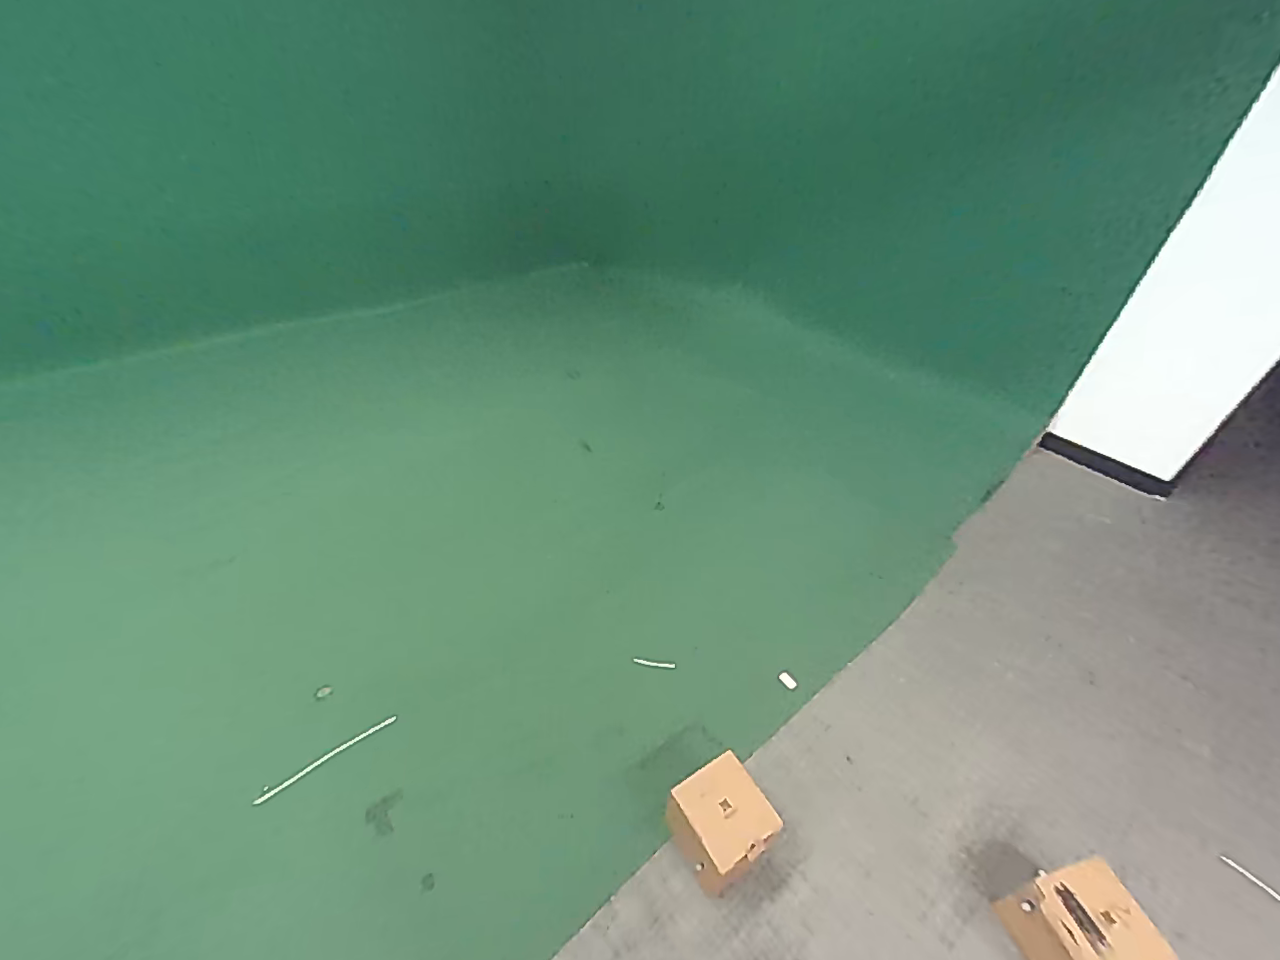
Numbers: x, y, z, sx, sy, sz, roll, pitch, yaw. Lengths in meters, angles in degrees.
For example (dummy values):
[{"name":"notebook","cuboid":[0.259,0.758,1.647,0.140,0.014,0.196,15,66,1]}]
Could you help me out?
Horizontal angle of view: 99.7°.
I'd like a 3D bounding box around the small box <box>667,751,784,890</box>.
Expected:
[{"name":"small box","cuboid":[0.174,0.730,1.152,0.168,0.176,0.179,-20,45,-27]}]
